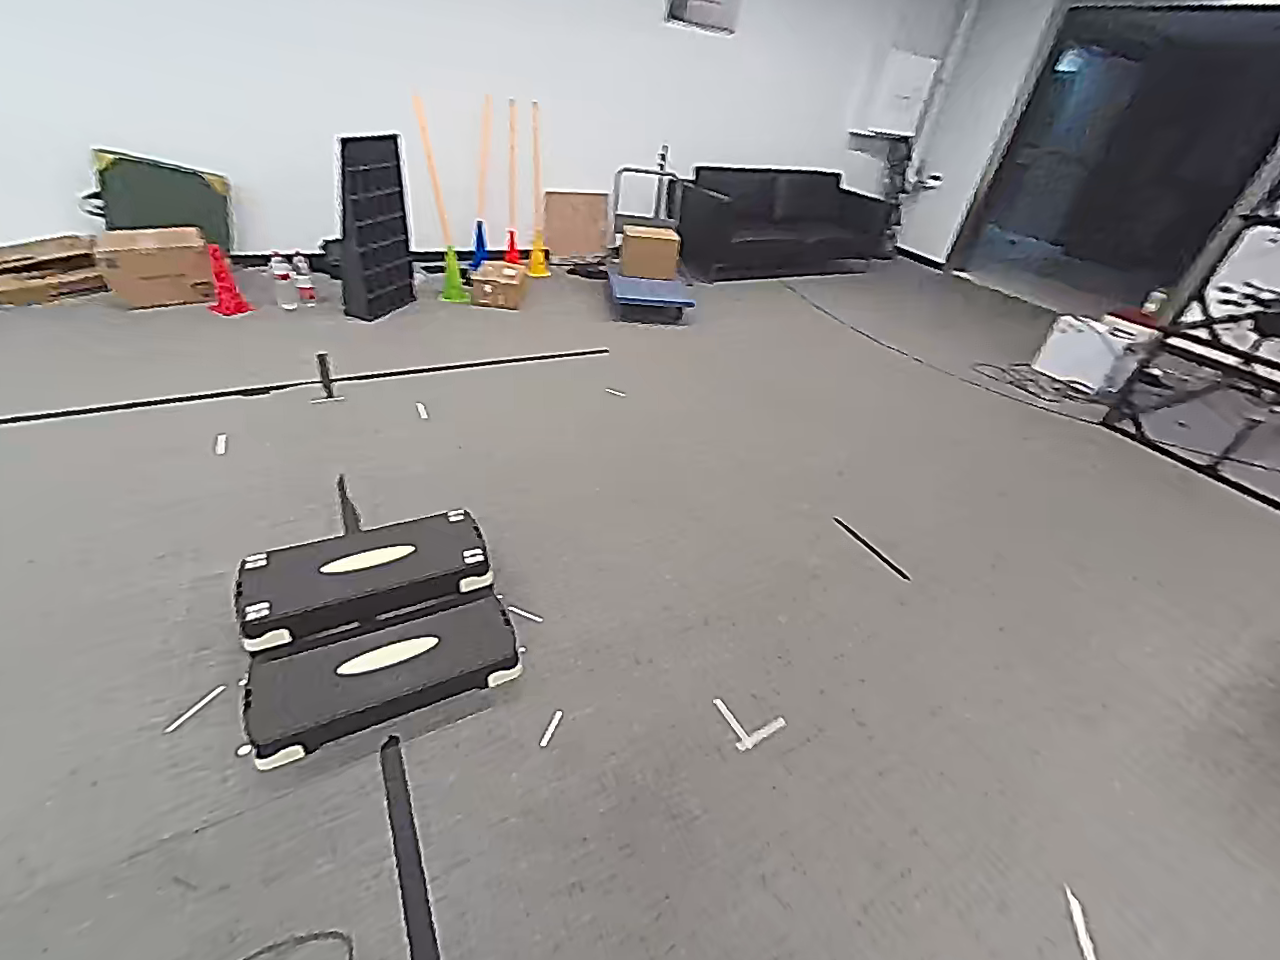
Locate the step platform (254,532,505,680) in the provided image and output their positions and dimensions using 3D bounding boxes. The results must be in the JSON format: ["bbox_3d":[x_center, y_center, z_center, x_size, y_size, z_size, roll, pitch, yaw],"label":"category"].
[{"bbox_3d":[-0.773,0.362,1.665,0.684,0.204,0.286,-8,38,-24],"label":"step platform"}]
